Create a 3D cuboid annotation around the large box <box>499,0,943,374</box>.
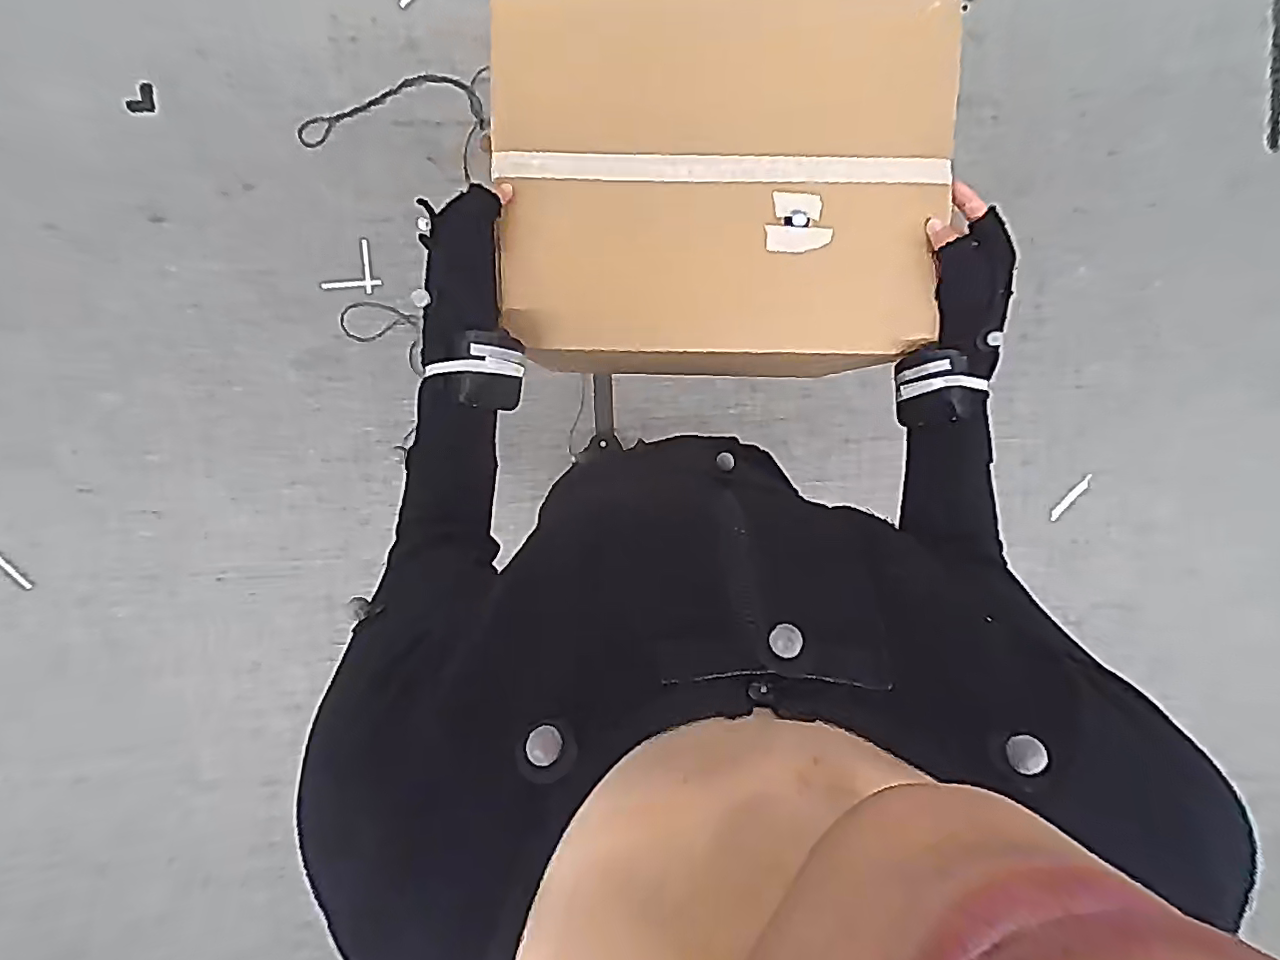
[{"bbox_3d":[0.069,-0.296,0.643,0.408,0.320,0.320,0,98,-1],"label":"large box"}]
